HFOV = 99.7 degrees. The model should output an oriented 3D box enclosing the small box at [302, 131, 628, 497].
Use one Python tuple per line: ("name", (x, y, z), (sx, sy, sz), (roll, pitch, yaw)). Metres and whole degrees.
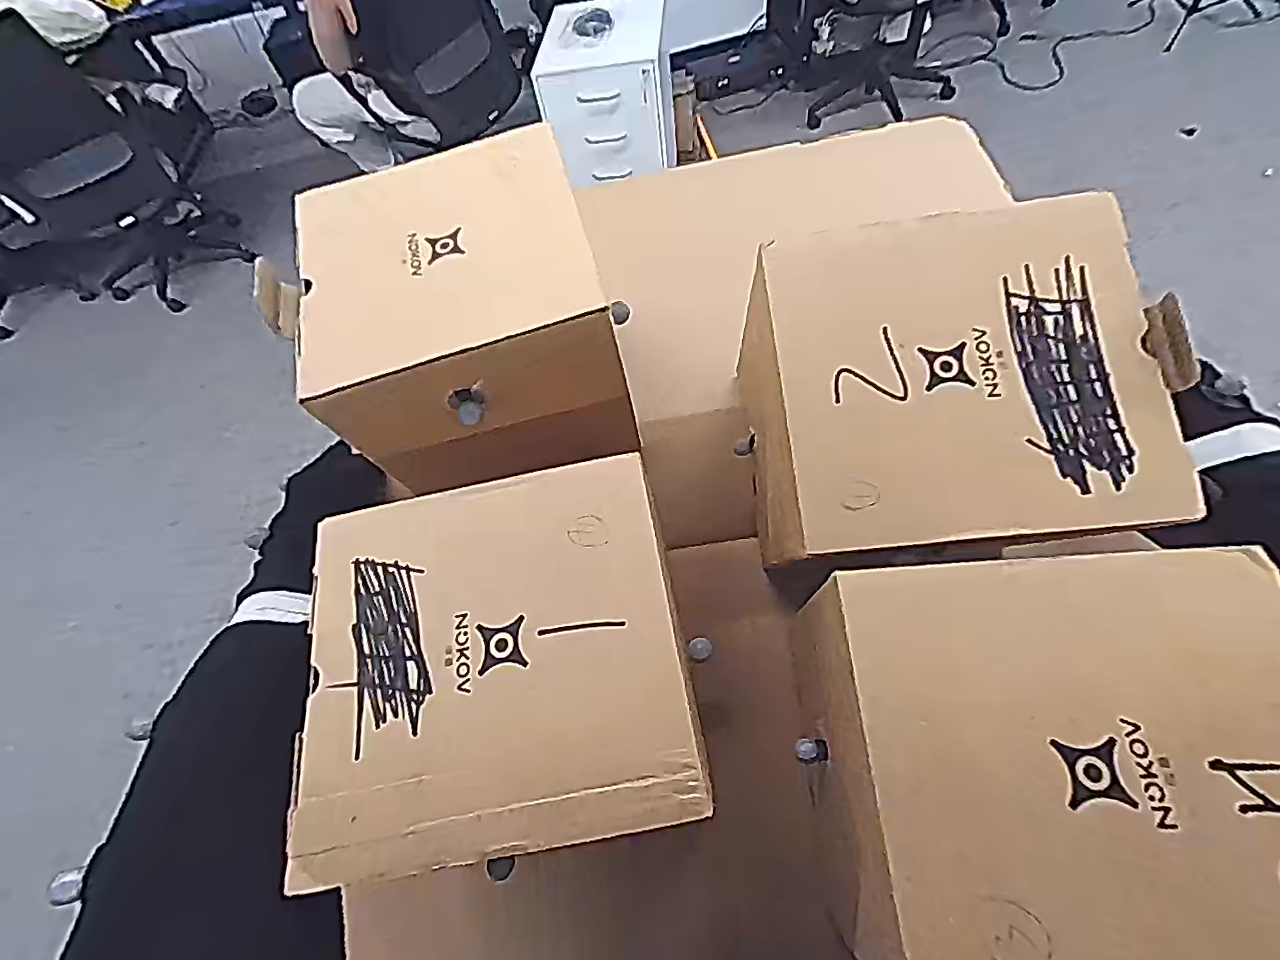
("small box", (-0.113, -0.108, 0.404), (0.179, 0.176, 0.168), (-18, 65, 1))
